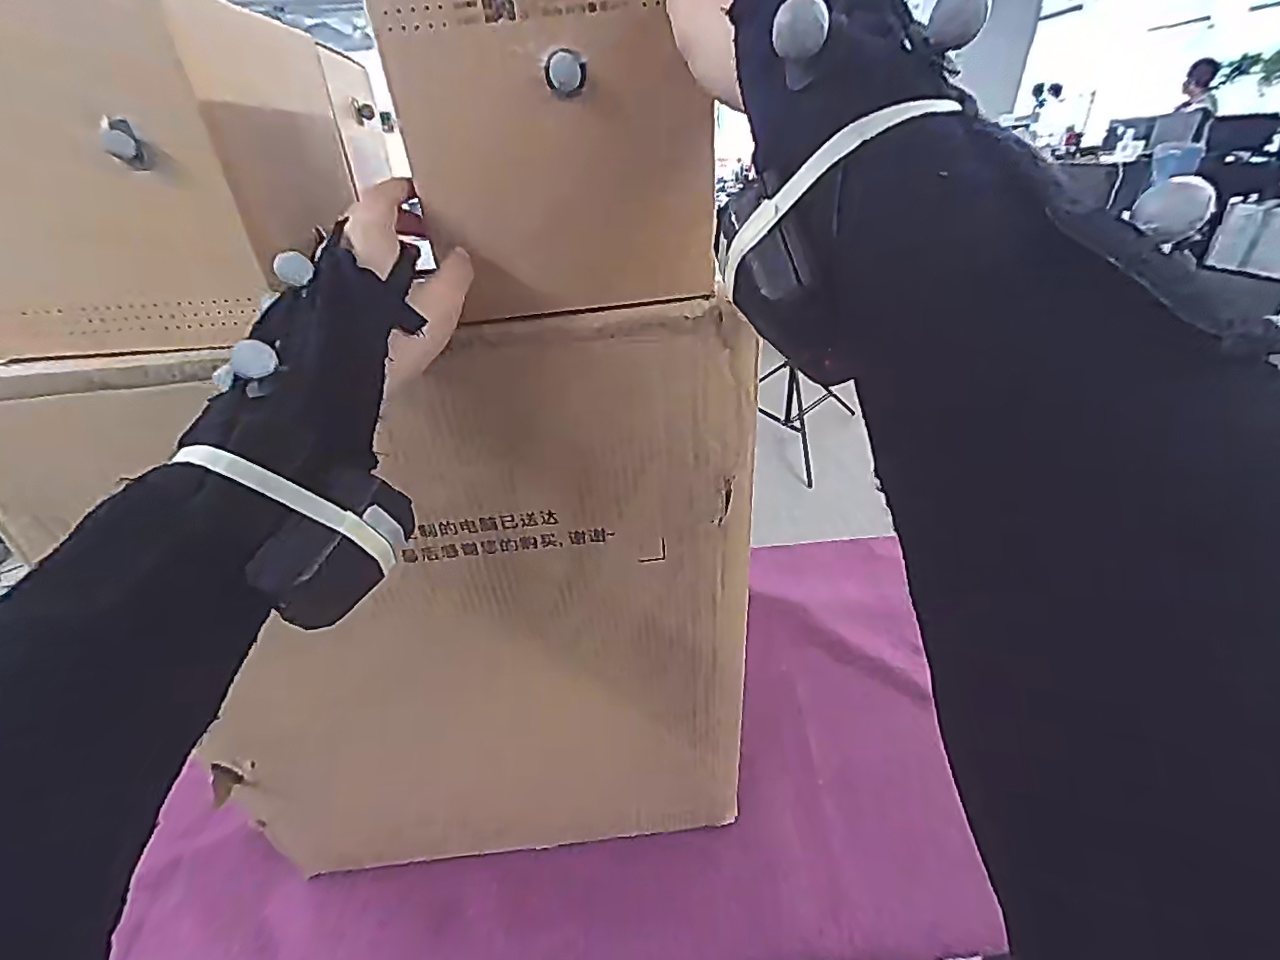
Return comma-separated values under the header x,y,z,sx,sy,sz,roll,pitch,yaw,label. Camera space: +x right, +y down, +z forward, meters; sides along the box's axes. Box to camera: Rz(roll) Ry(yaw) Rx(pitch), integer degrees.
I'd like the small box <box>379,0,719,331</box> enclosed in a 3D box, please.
x,y,z,sx,sy,sz,roll,pitch,yaw,label
-0.045,-0.213,0.360,0.168,0.176,0.179,-7,31,-2,small box
